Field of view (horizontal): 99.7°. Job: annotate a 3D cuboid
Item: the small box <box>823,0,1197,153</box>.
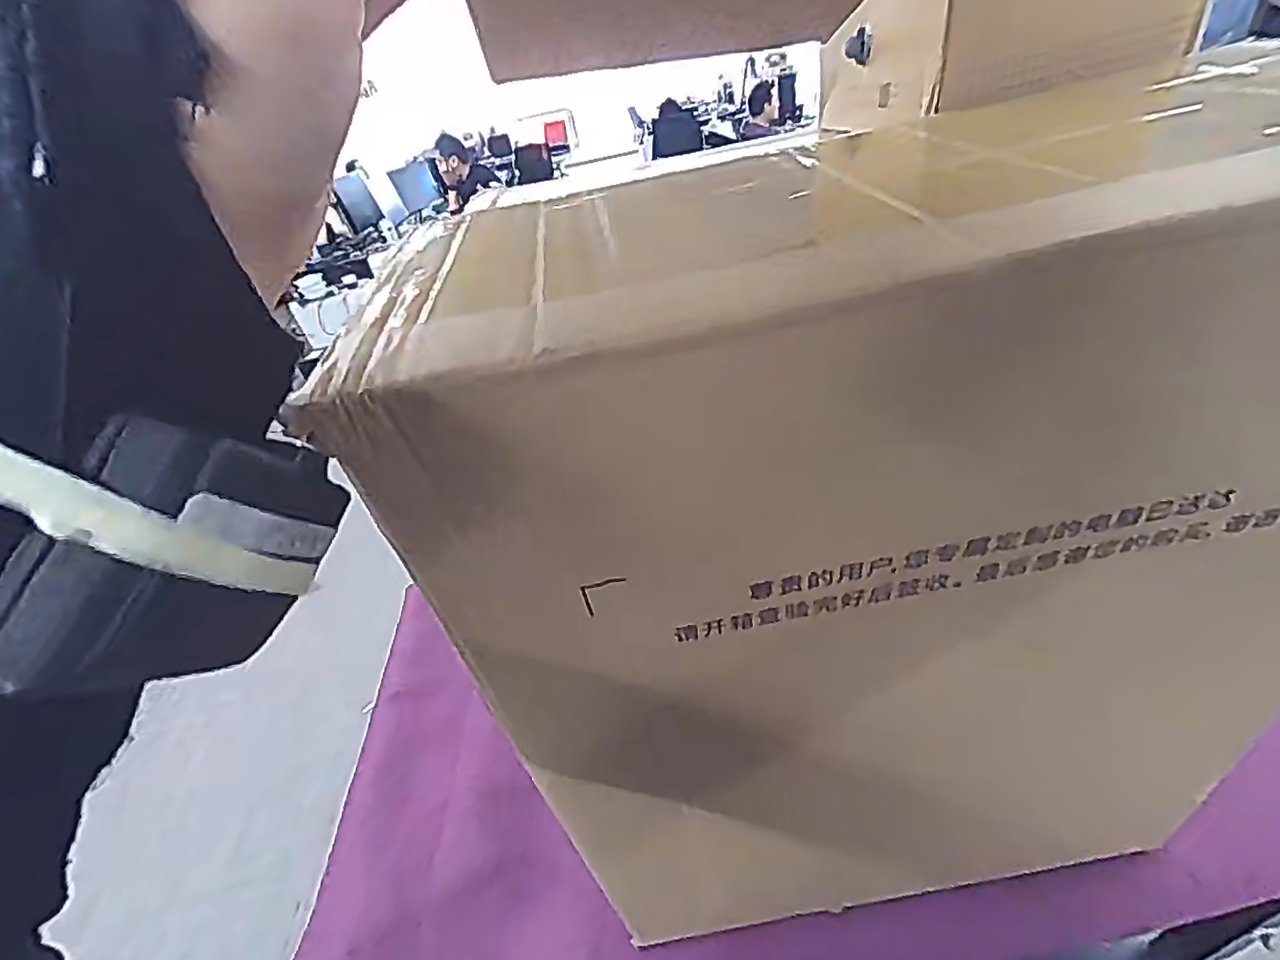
[{"bbox_3d":[0.237,-0.339,0.361,0.179,0.176,0.168,-16,36,-2],"label":"small box"}]
